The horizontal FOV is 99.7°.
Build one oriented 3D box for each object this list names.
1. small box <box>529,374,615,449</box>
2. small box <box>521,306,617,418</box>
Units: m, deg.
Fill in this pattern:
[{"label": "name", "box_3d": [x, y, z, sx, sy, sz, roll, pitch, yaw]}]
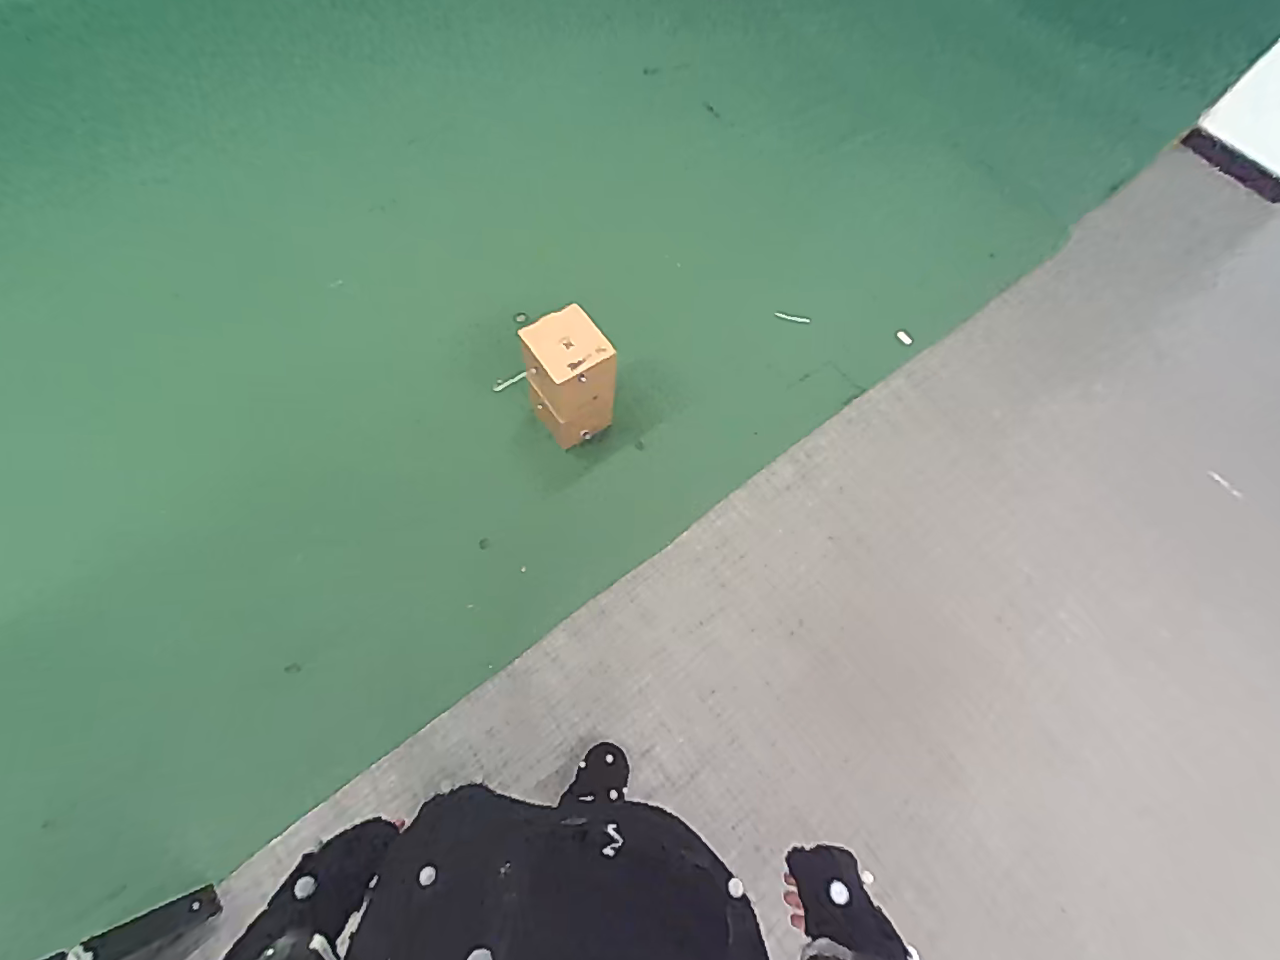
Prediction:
[{"label": "small box", "box_3d": [-0.186, -0.218, 1.485, 0.168, 0.176, 0.179, -33, 75, -16]}, {"label": "small box", "box_3d": [-0.173, -0.288, 1.337, 0.168, 0.176, 0.179, -32, 72, -16]}]
